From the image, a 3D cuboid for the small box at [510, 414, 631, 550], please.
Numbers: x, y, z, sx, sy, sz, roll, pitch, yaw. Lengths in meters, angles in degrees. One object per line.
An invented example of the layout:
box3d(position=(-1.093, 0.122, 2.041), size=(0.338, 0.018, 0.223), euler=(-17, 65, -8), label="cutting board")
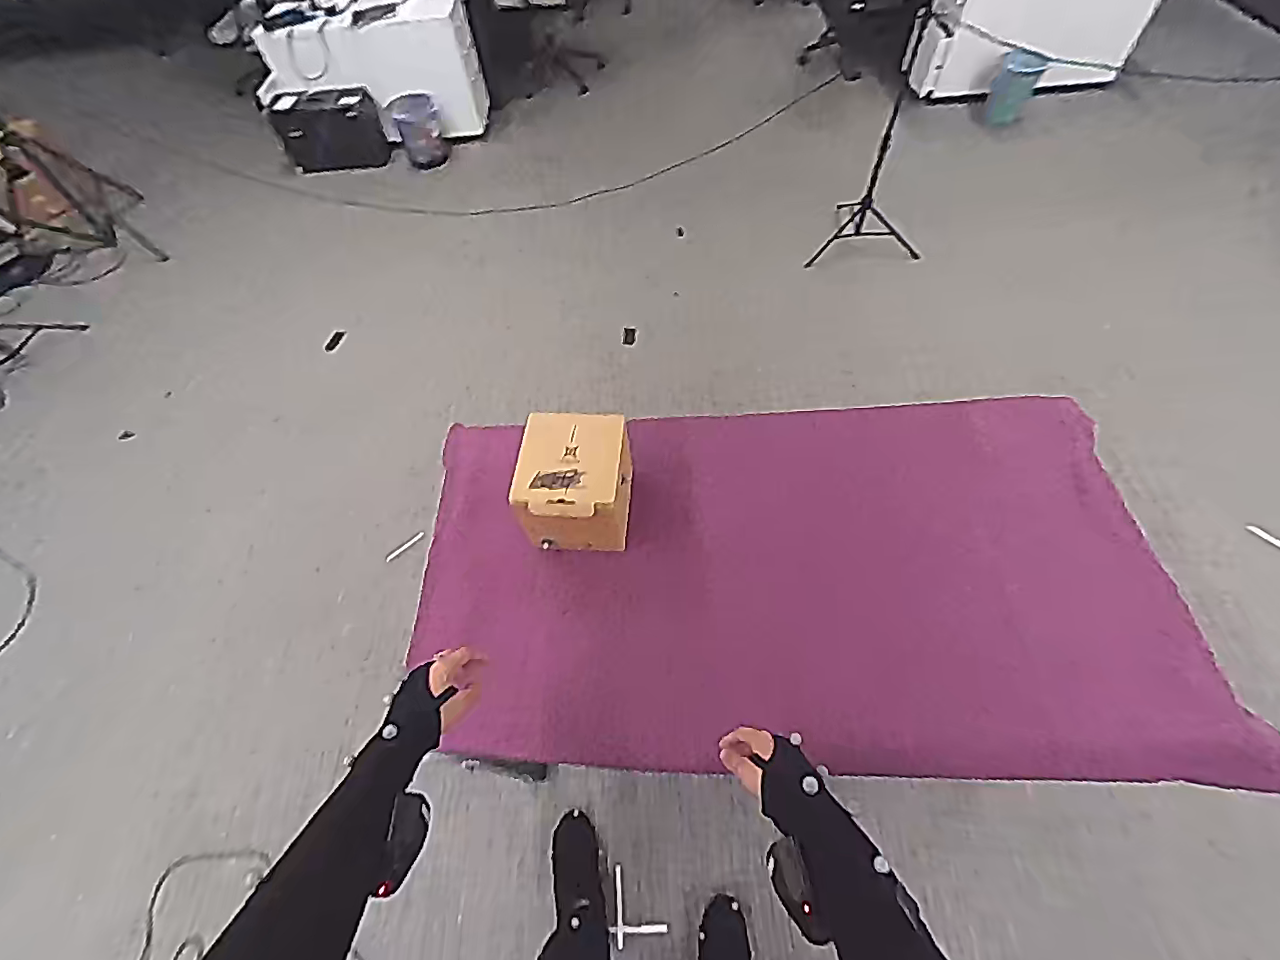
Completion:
box3d(position=(-0.106, 0.008, 0.922), size=(0.168, 0.176, 0.179), euler=(2, 58, 5), label="small box")
